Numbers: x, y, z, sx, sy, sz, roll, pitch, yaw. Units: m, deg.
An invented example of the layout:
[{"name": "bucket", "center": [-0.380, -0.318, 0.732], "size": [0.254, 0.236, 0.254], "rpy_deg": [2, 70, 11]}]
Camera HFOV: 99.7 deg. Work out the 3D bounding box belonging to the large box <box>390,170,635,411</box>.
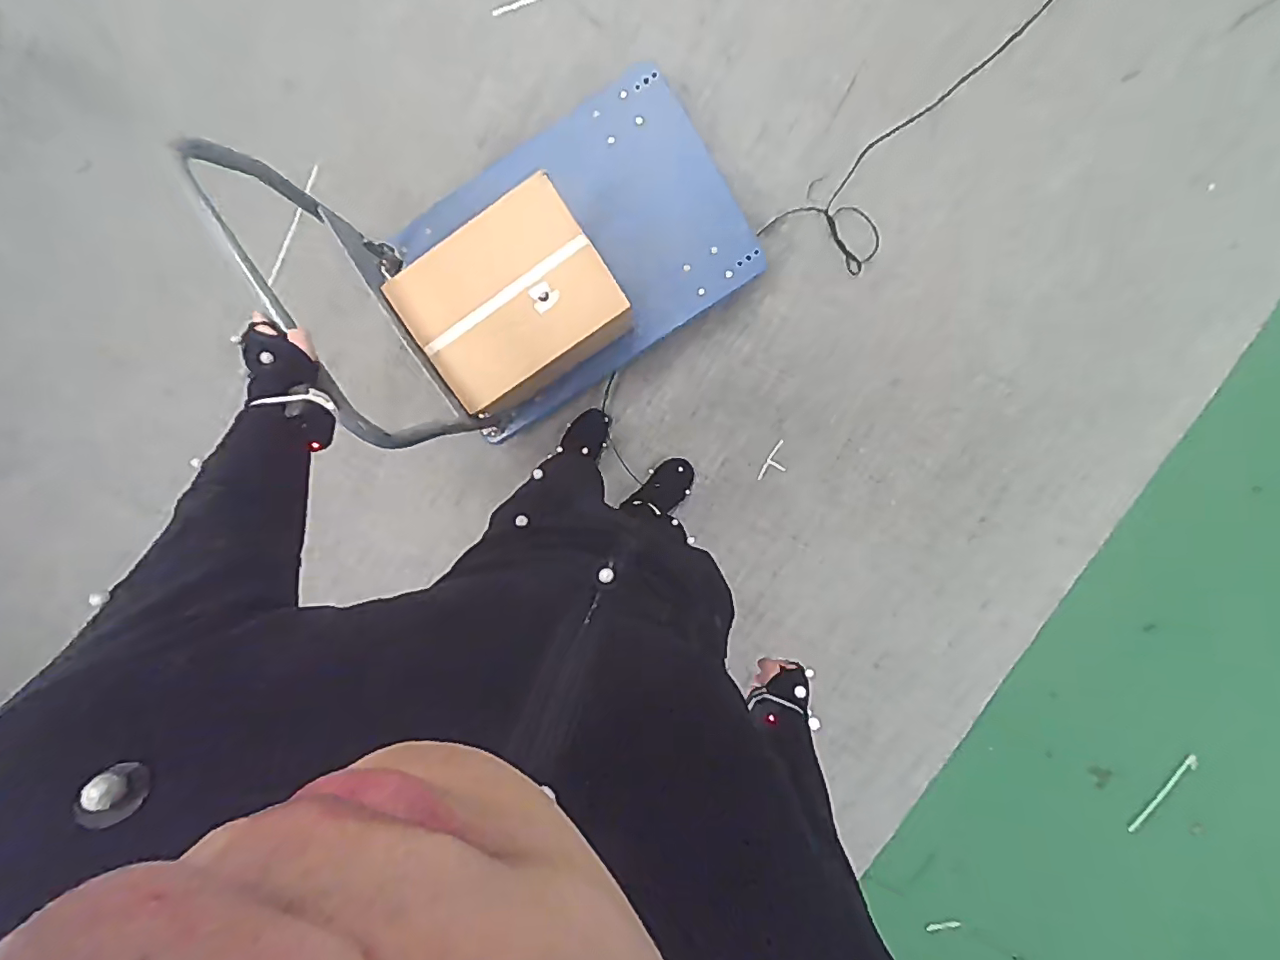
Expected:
[{"name": "large box", "center": [-0.257, -0.390, 1.229], "size": [0.408, 0.320, 0.320], "rpy_deg": [-33, 97, 4]}]
